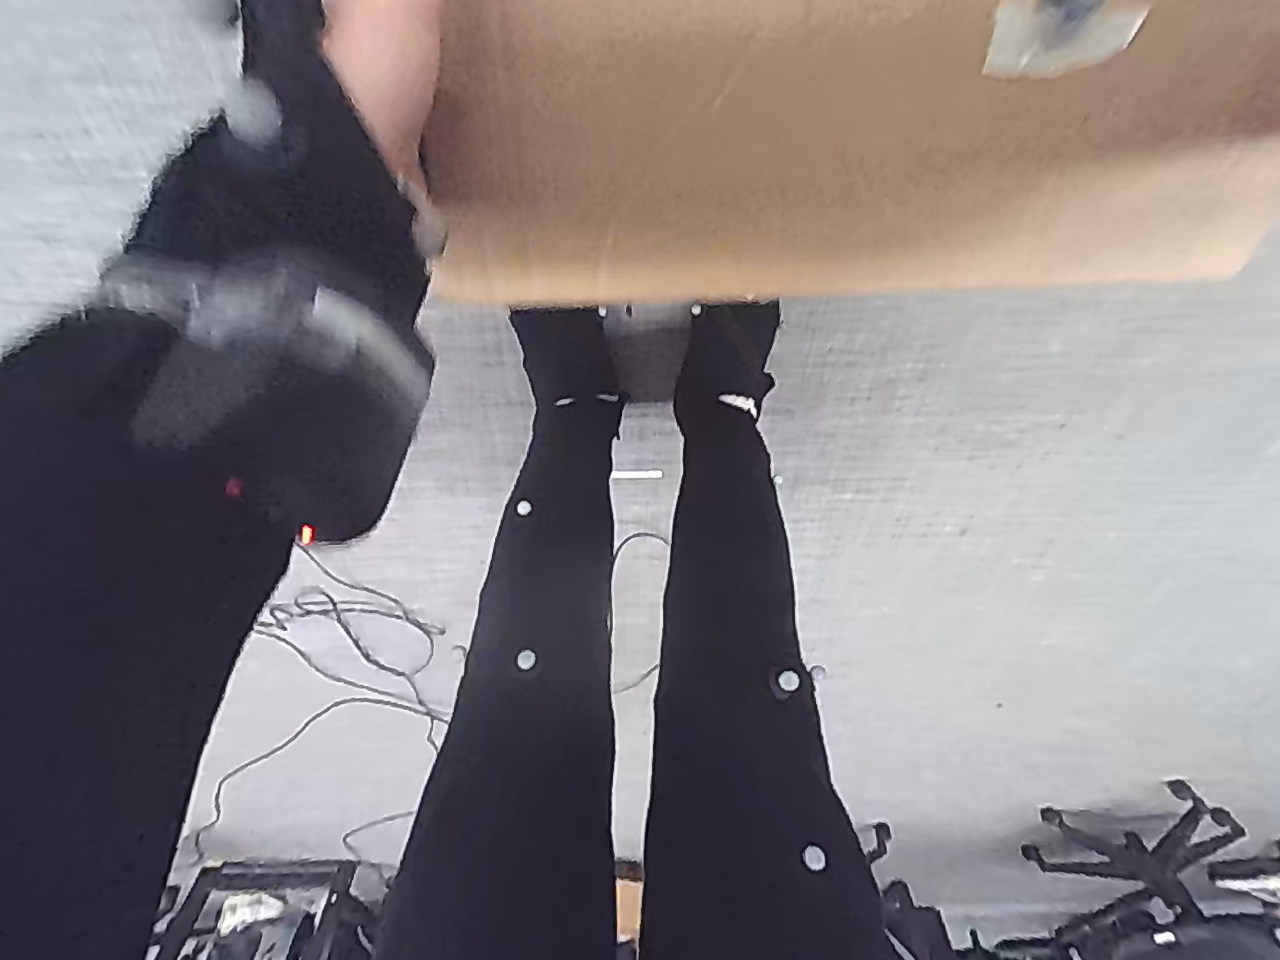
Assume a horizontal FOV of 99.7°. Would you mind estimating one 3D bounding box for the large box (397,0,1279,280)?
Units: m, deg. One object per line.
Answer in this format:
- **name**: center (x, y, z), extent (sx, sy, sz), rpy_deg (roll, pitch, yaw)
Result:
- **large box**: center (0.094, -0.316, 0.304), extent (0.408, 0.320, 0.320), rpy_deg (-3, 124, -2)
